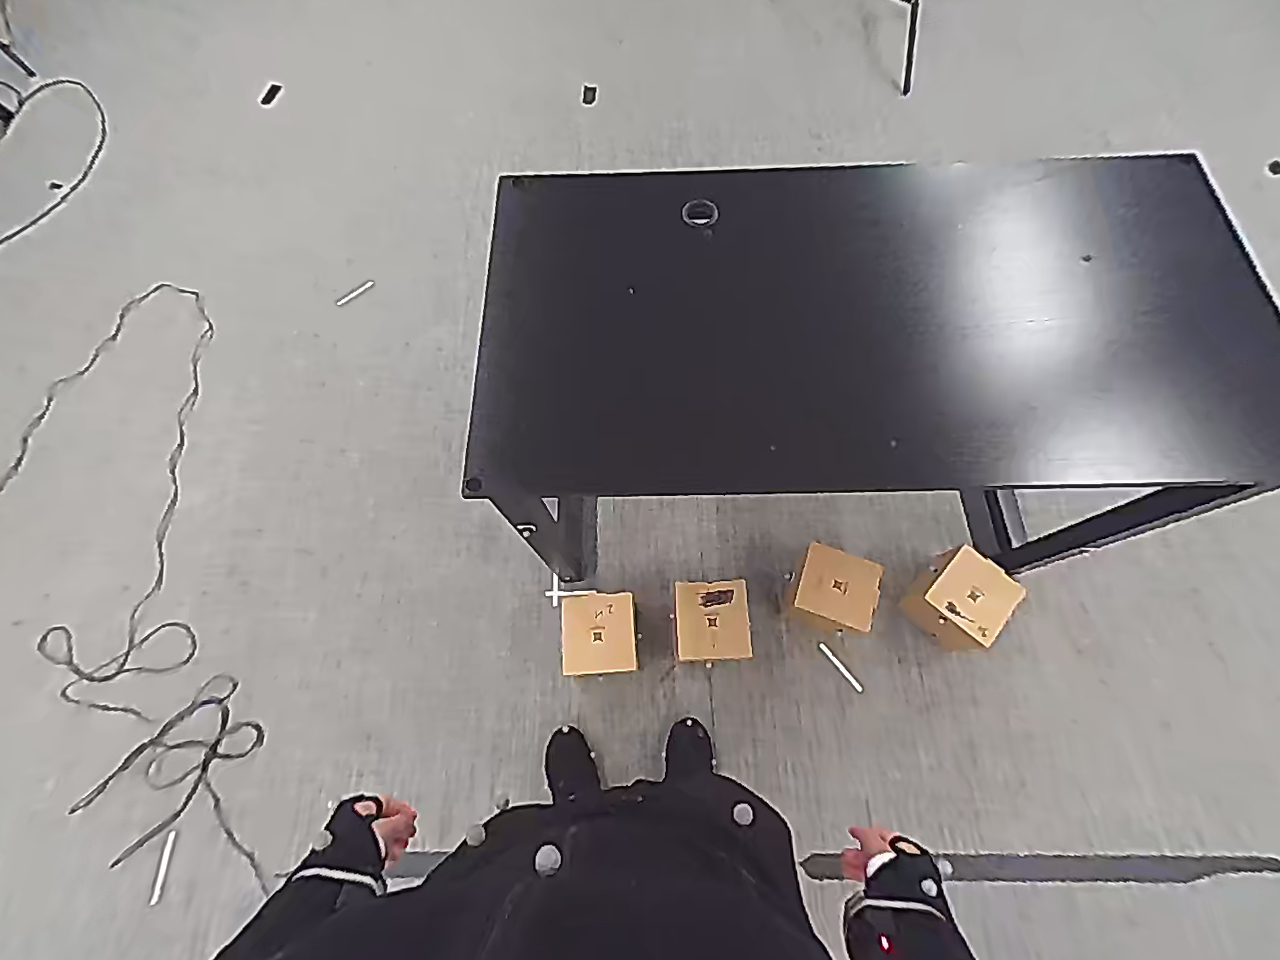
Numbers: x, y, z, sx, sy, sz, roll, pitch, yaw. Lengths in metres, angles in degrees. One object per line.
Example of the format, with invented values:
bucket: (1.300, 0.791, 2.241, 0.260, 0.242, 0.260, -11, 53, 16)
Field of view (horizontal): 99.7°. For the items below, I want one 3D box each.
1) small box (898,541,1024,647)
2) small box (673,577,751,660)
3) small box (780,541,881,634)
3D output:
small box: (0.762, 0.280, 1.304, 0.168, 0.176, 0.179, 40, 75, 16)
small box: (0.167, 0.339, 1.305, 0.168, 0.176, 0.179, -3, 70, 1)
small box: (0.459, 0.269, 1.323, 0.179, 0.176, 0.168, 18, 70, 10)
